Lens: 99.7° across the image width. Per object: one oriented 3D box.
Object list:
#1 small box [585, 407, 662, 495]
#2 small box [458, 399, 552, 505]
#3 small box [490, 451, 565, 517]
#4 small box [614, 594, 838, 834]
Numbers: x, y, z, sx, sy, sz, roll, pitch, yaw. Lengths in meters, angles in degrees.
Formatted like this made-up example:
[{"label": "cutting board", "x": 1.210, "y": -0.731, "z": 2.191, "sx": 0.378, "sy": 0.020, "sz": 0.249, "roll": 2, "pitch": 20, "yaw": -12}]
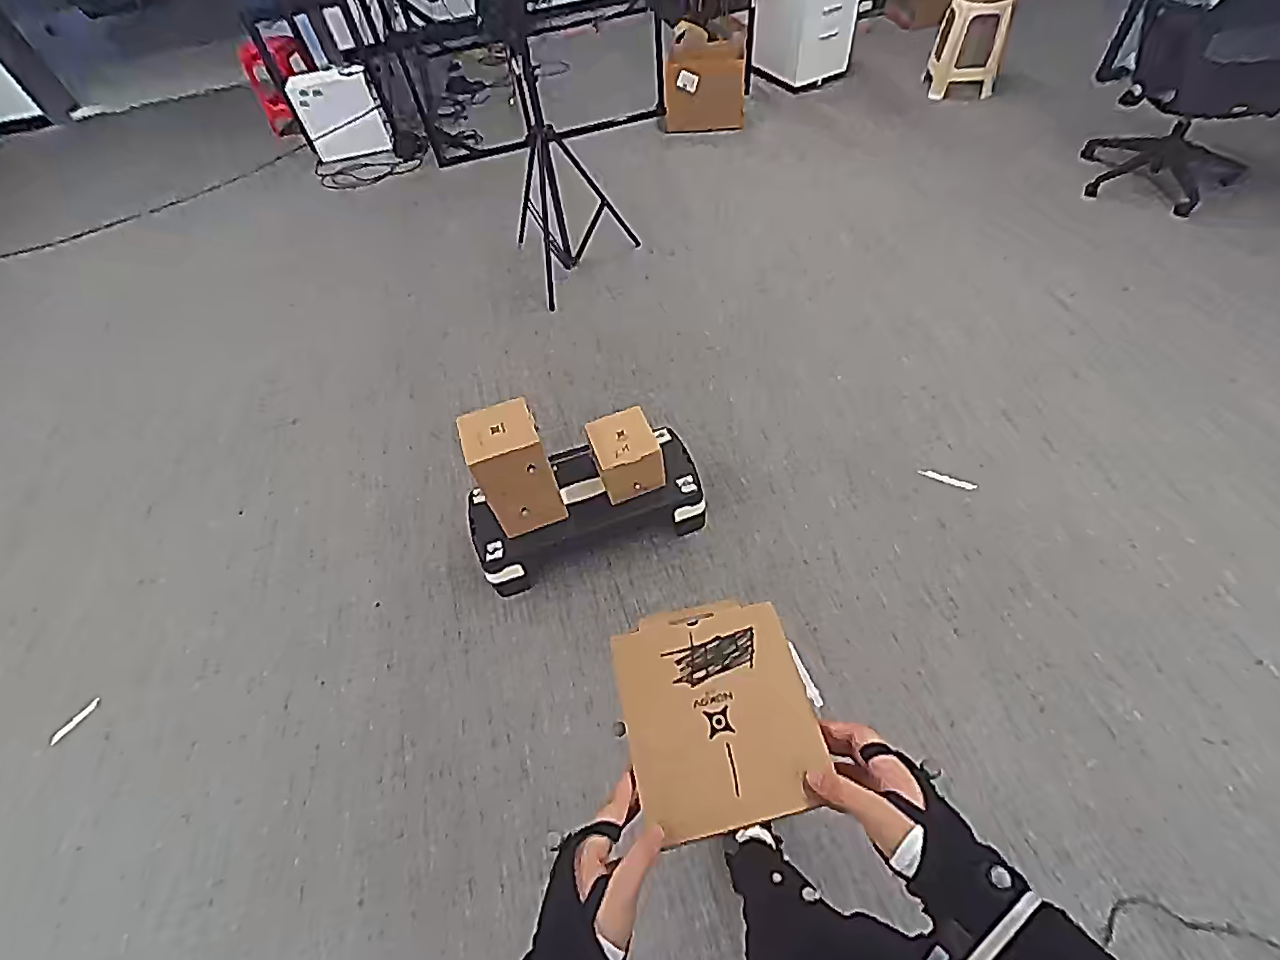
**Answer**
[{"label": "small box", "x": -0.042, "y": -0.068, "z": 1.513, "sx": 0.168, "sy": 0.176, "sz": 0.179, "roll": -20, "pitch": 55, "yaw": -7}, {"label": "small box", "x": -0.329, "y": -0.067, "z": 1.345, "sx": 0.179, "sy": 0.176, "sz": 0.168, "roll": -21, "pitch": 54, "yaw": -8}, {"label": "small box", "x": -0.314, "y": 0.026, "z": 1.479, "sx": 0.179, "sy": 0.176, "sz": 0.168, "roll": -20, "pitch": 55, "yaw": -8}, {"label": "small box", "x": 0.071, "y": 0.243, "z": 0.555, "sx": 0.168, "sy": 0.176, "sz": 0.179, "roll": -11, "pitch": 56, "yaw": -5}]
